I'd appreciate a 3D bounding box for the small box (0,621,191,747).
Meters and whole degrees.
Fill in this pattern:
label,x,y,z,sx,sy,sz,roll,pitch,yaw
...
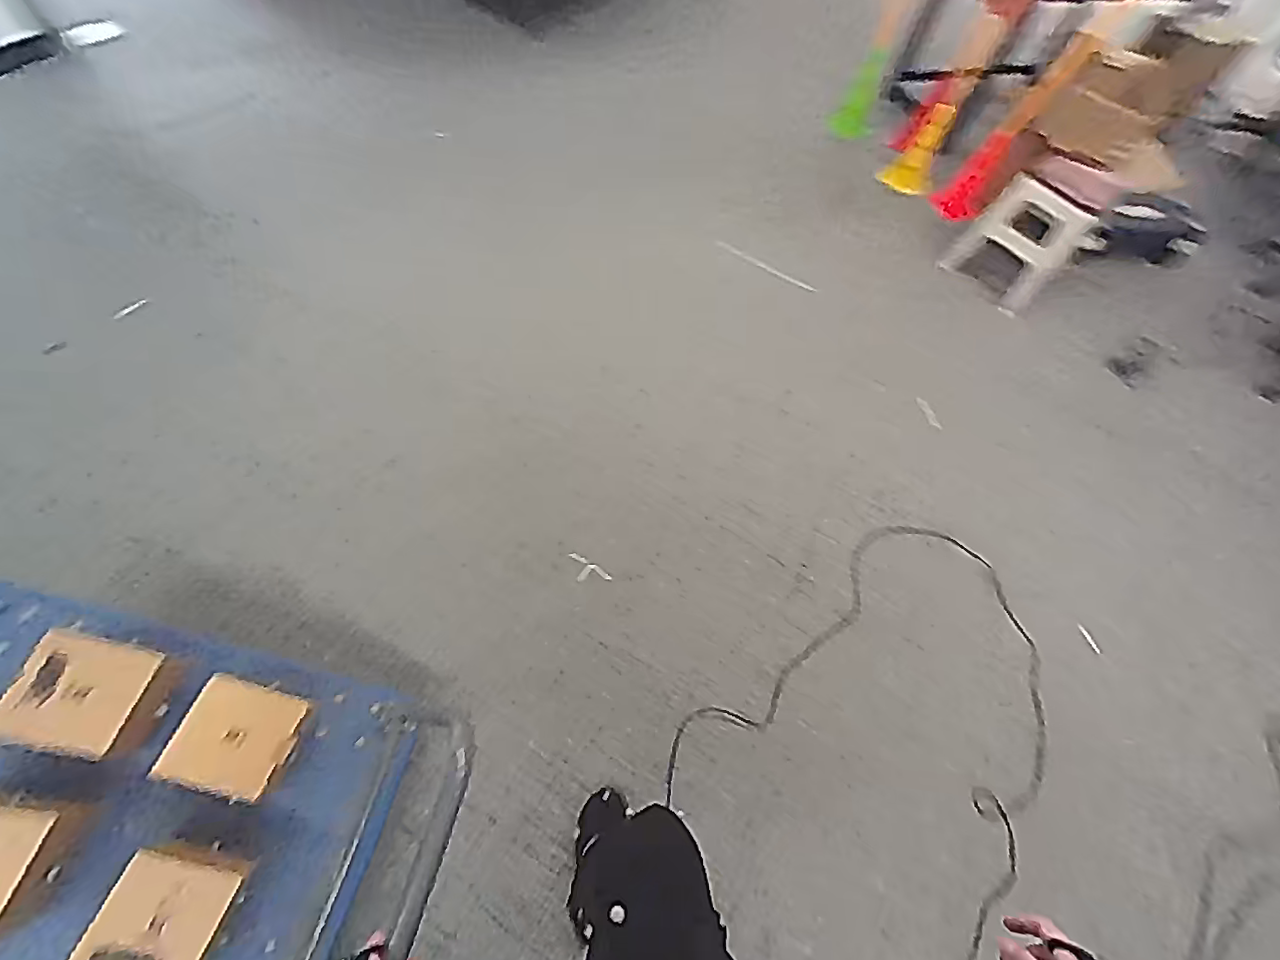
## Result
label,x,y,z,sx,sy,sz,roll,pitch,yaw
small box,-0.967,0.370,0.971,0.179,0.176,0.168,23,60,-16

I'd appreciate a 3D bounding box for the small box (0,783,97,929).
label,x,y,z,sx,sy,sz,roll,pitch,yaw
small box,-1.026,0.585,0.847,0.179,0.176,0.168,21,60,-17

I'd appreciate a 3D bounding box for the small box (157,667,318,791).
label,x,y,z,sx,sy,sz,roll,pitch,yaw
small box,-0.750,0.474,1.032,0.179,0.176,0.168,26,59,-14
